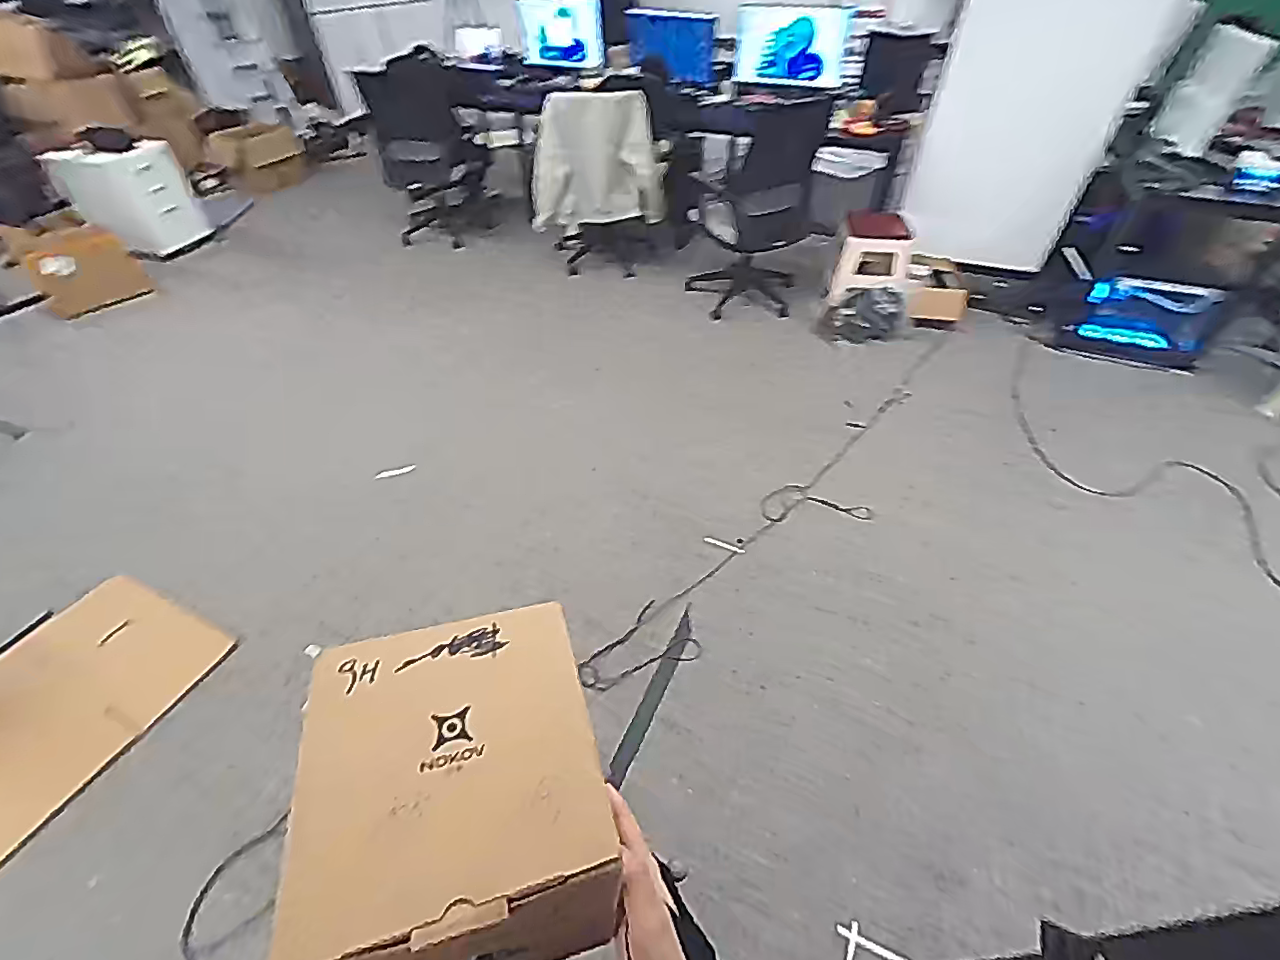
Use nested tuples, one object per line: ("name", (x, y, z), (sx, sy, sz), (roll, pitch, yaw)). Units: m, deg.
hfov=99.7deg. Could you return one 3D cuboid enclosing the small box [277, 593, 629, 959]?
("small box", (-0.113, 0.209, 0.365), (0.168, 0.176, 0.179), (-8, 41, -18))
